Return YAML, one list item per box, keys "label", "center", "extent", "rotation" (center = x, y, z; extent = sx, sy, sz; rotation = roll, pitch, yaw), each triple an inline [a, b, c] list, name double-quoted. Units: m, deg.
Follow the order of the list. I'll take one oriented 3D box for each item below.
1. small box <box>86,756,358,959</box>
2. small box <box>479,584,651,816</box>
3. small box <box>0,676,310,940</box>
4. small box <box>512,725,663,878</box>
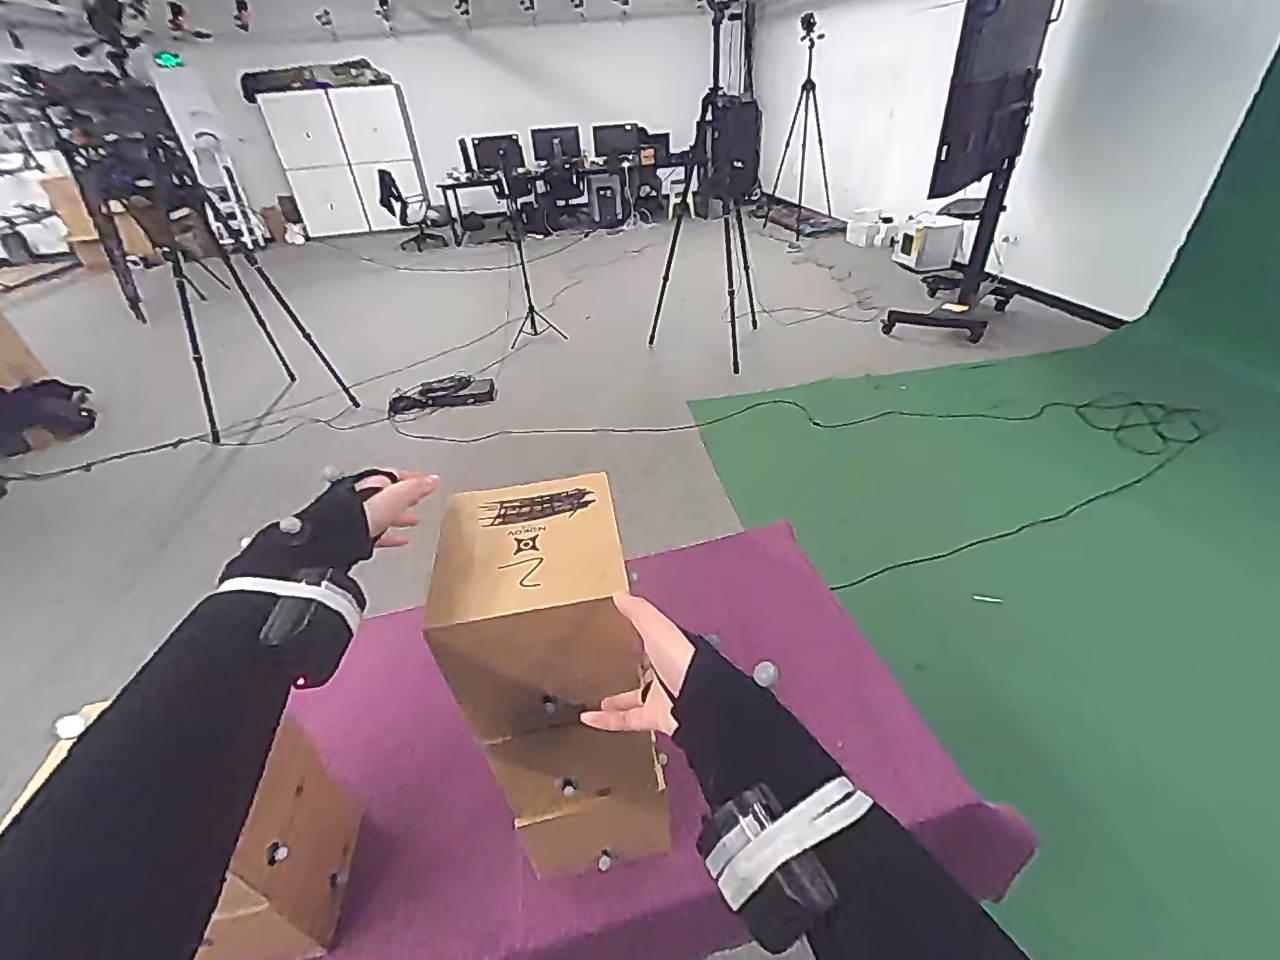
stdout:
- label: "small box"
  center: [-0.478, 0.474, 0.657]
  extent: [0.179, 0.176, 0.168]
  rotation: [-9, 36, -7]
- label: "small box"
  center: [-0.084, 0.254, 0.638]
  extent: [0.168, 0.176, 0.179]
  rotation: [-10, 37, -7]
- label: "small box"
  center: [-0.484, 0.338, 0.564]
  extent: [0.179, 0.176, 0.168]
  rotation: [-10, 36, -7]
- label: "small box"
  center: [-0.070, 0.393, 0.724]
  extent: [0.179, 0.176, 0.168]
  rotation: [-10, 35, -7]
